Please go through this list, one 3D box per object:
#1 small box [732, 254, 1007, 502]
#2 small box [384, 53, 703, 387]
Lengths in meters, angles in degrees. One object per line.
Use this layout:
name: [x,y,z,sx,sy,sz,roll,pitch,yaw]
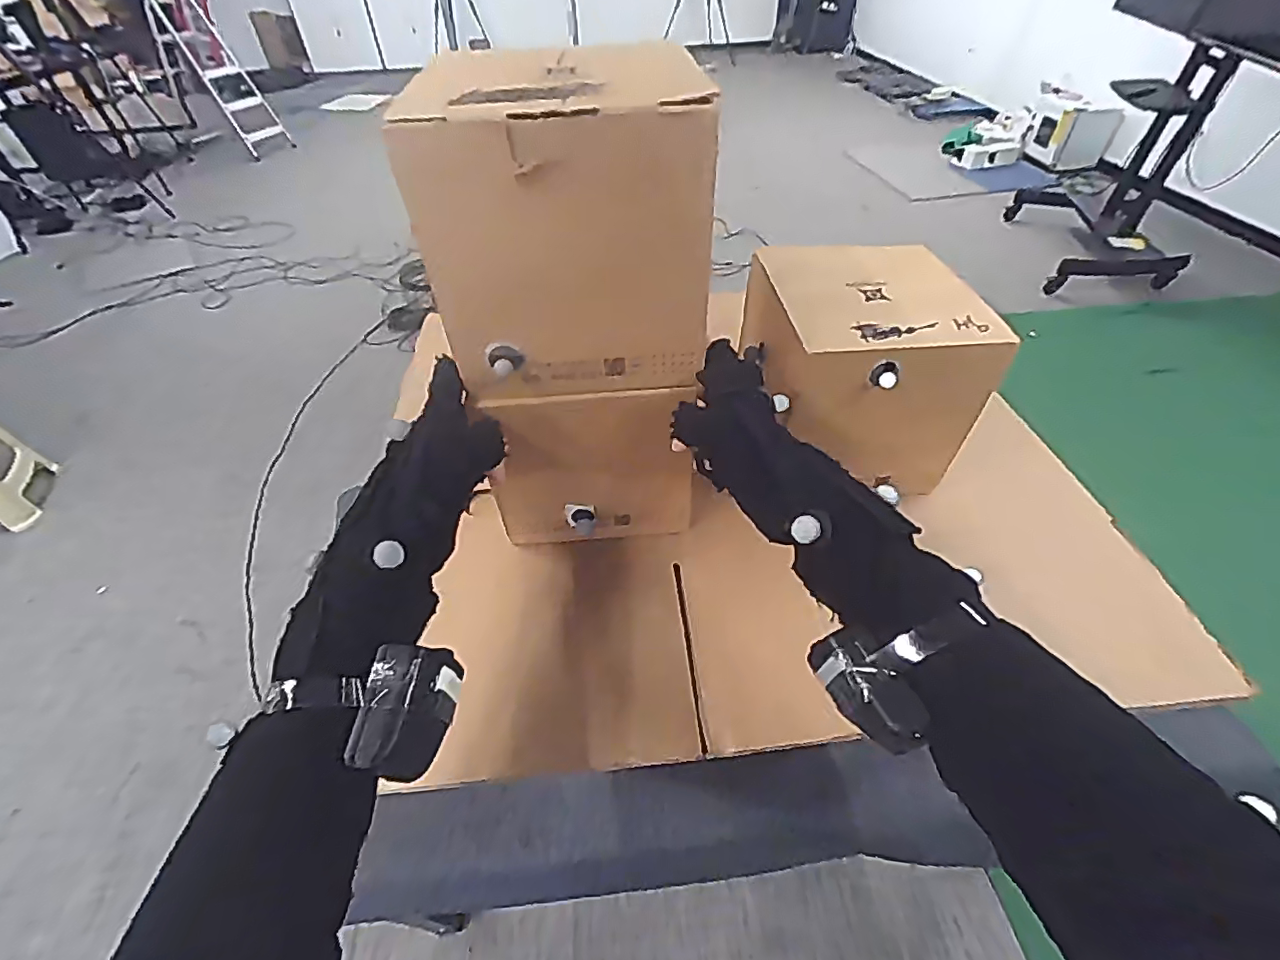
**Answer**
small box: [0.190,-0.099,0.519,0.168,0.176,0.179,-3,46,-3]
small box: [-0.048,-0.178,0.383,0.168,0.176,0.179,-4,46,-1]
